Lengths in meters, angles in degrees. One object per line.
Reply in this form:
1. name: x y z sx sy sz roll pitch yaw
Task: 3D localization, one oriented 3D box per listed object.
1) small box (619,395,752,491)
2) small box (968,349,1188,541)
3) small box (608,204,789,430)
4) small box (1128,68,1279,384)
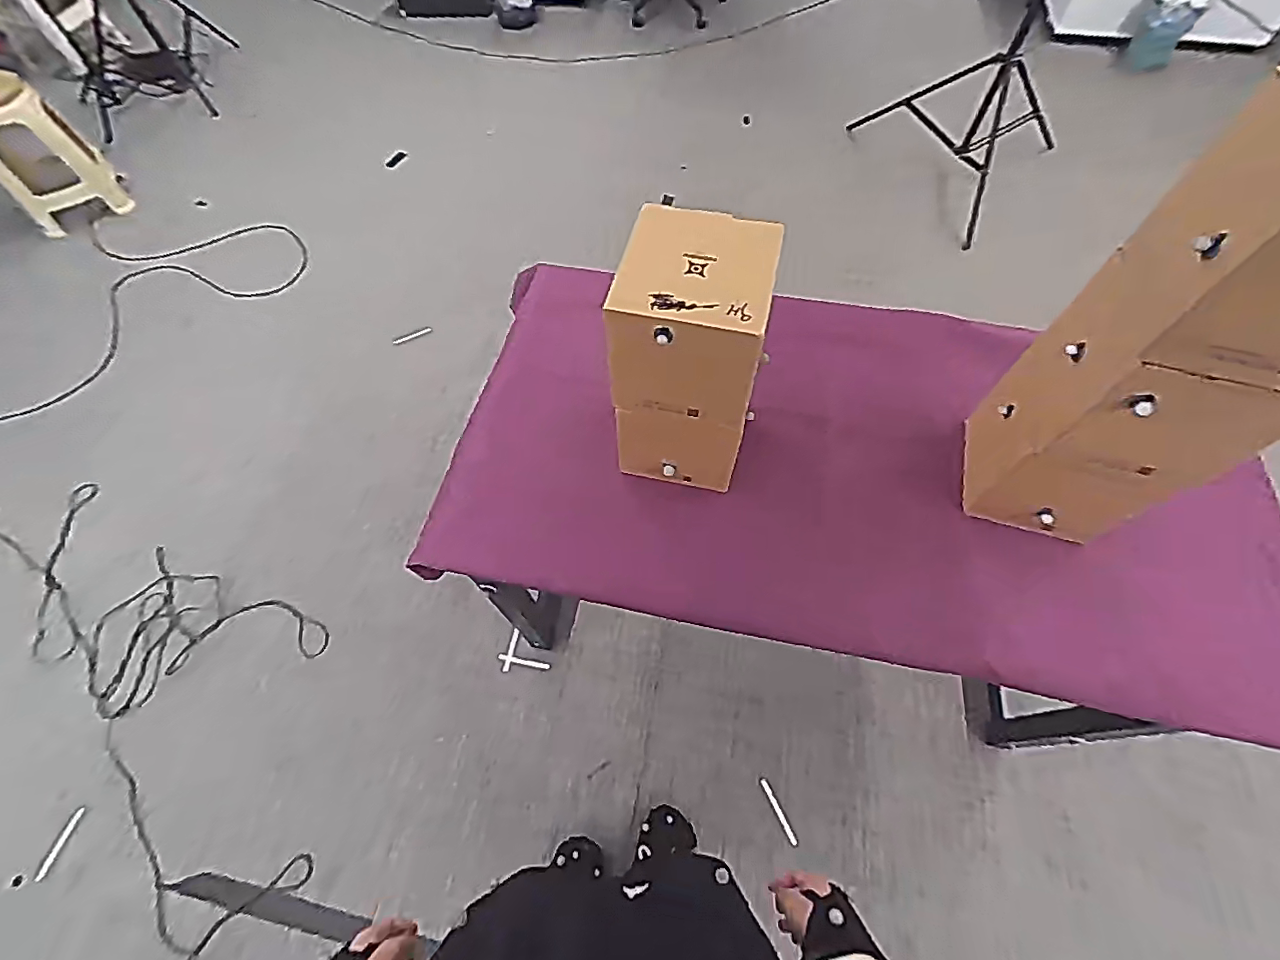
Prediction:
1. small box: 0.072 -0.109 0.785 0.168 0.176 0.179 11 63 8
2. small box: 0.573 -0.044 0.736 0.168 0.176 0.179 15 62 10
3. small box: 0.067 -0.188 0.641 0.168 0.176 0.179 12 62 8
4. small box: 0.559 -0.198 0.448 0.168 0.176 0.179 17 61 10
